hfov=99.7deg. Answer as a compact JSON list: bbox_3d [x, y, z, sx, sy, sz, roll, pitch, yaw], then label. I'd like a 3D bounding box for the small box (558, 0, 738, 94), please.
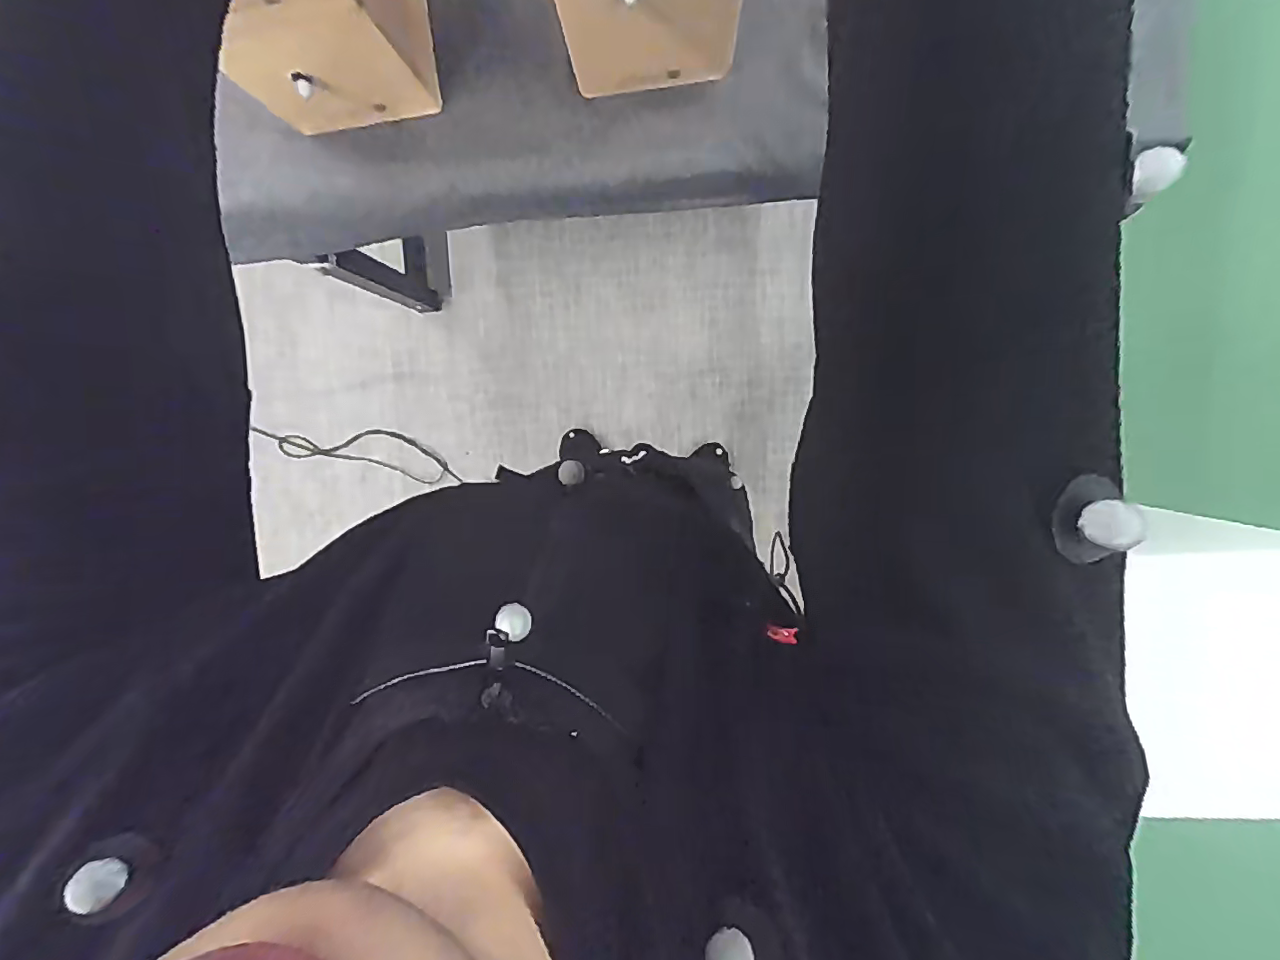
[{"bbox_3d":[0.001,-0.510,0.506,0.168,0.176,0.179,-5,96,3],"label":"small box"}]

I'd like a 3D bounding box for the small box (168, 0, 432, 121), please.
[{"bbox_3d":[-0.321,-0.481,0.522,0.168,0.176,0.179,-7,96,3],"label":"small box"}]
